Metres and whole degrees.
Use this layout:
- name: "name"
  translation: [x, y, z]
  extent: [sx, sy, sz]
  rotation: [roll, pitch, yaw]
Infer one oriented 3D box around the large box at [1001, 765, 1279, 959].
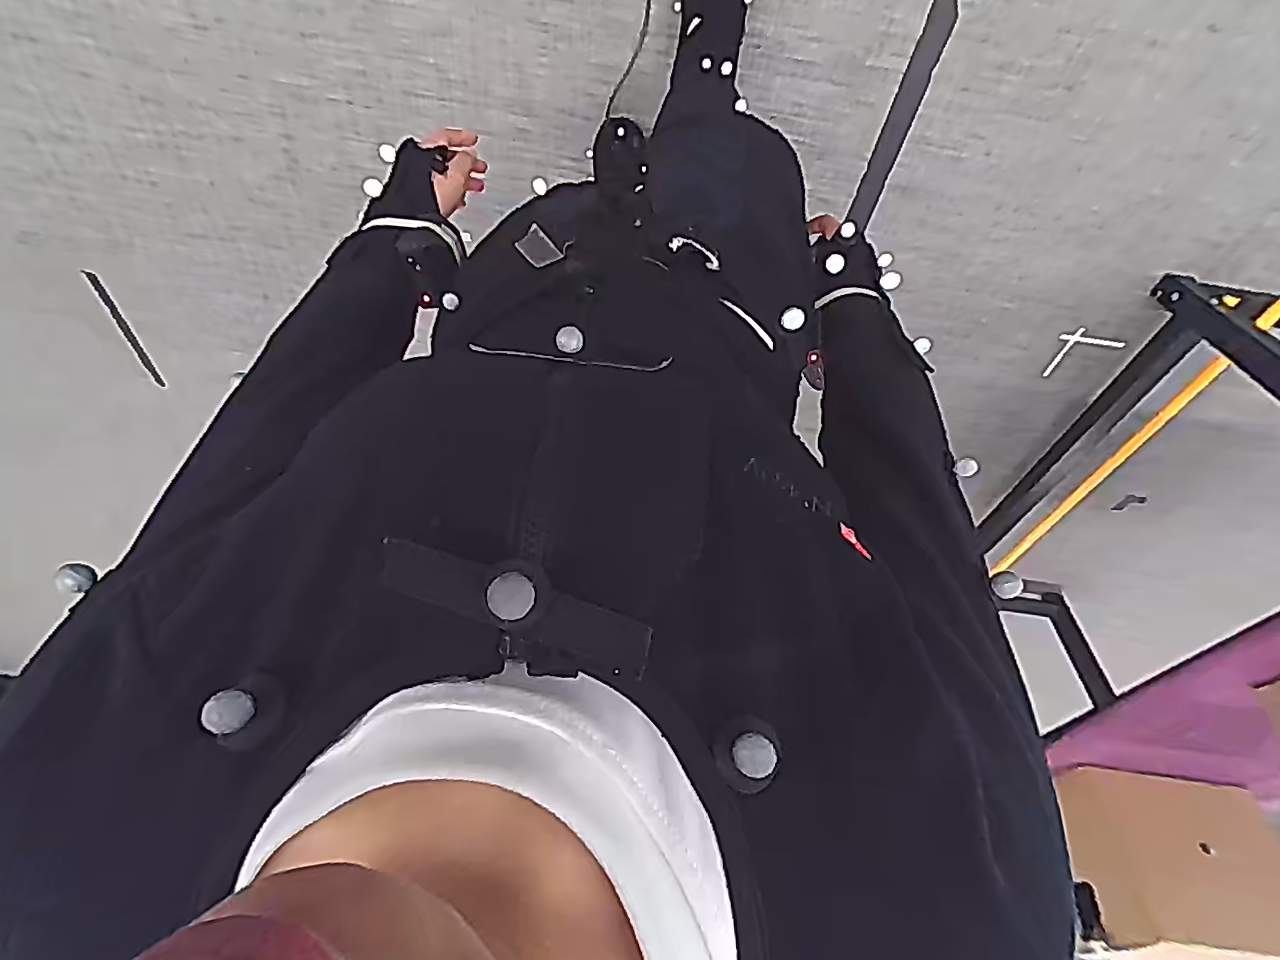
- name: "large box"
  translation: [1.144, 0.871, 1.217]
  extent: [0.408, 0.320, 0.320]
  rotation: [8, 136, -2]
